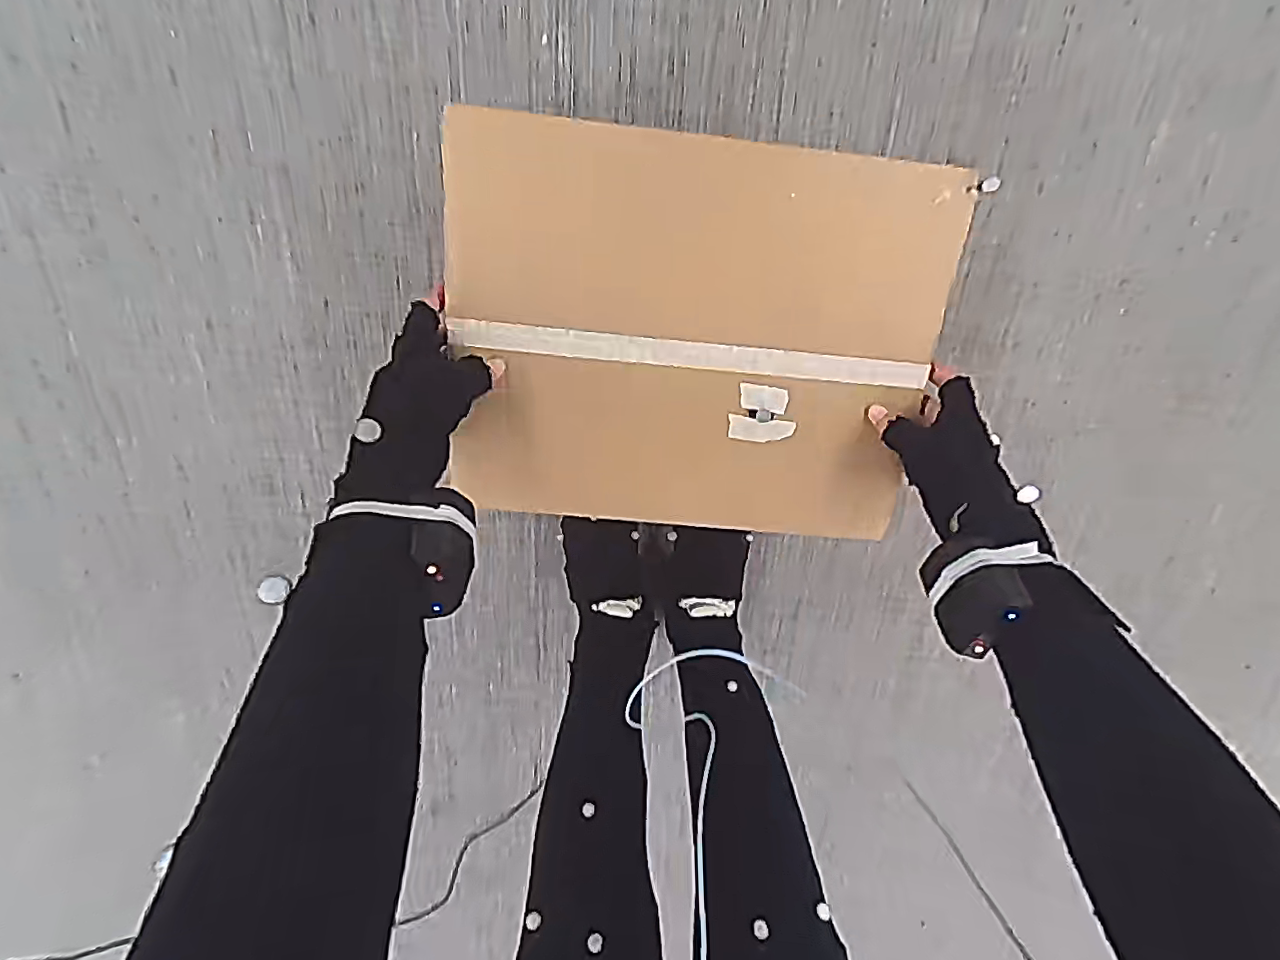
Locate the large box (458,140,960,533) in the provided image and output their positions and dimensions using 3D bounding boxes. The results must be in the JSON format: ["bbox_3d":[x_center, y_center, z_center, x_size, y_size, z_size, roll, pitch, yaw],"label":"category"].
[{"bbox_3d":[0.042,-0.152,0.609,0.408,0.320,0.320,4,110,-3],"label":"large box"}]
